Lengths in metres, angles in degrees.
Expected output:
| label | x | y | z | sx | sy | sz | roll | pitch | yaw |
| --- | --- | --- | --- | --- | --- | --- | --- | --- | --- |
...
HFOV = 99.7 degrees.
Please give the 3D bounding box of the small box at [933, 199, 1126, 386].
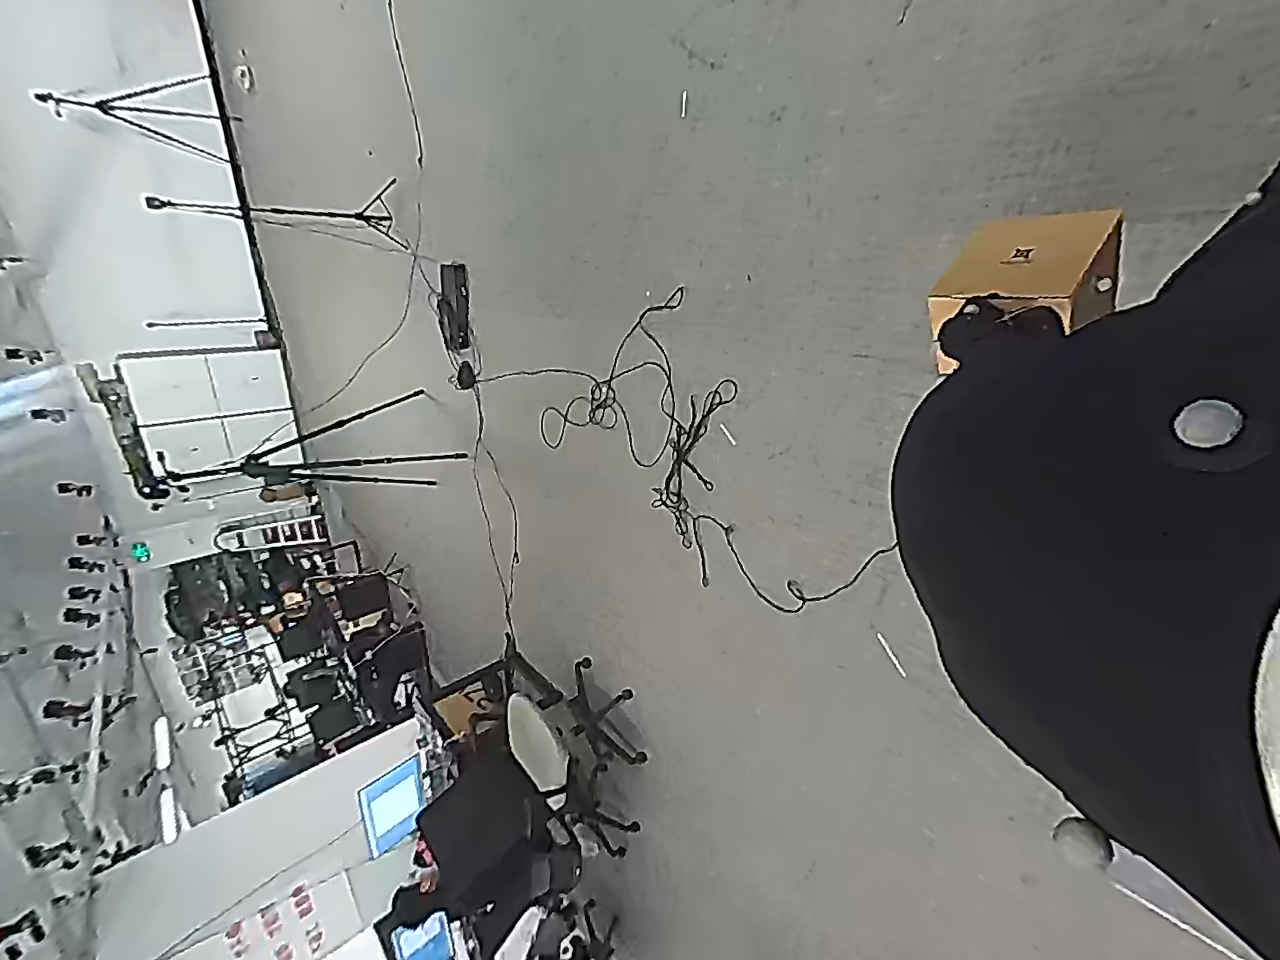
| label | x | y | z | sx | sy | sz | roll | pitch | yaw |
| --- | --- | --- | --- | --- | --- | --- | --- | --- | --- |
| small box | 0.545 | -0.261 | 0.766 | 0.168 | 0.179 | 0.176 | 22 | 158 | 47 |
